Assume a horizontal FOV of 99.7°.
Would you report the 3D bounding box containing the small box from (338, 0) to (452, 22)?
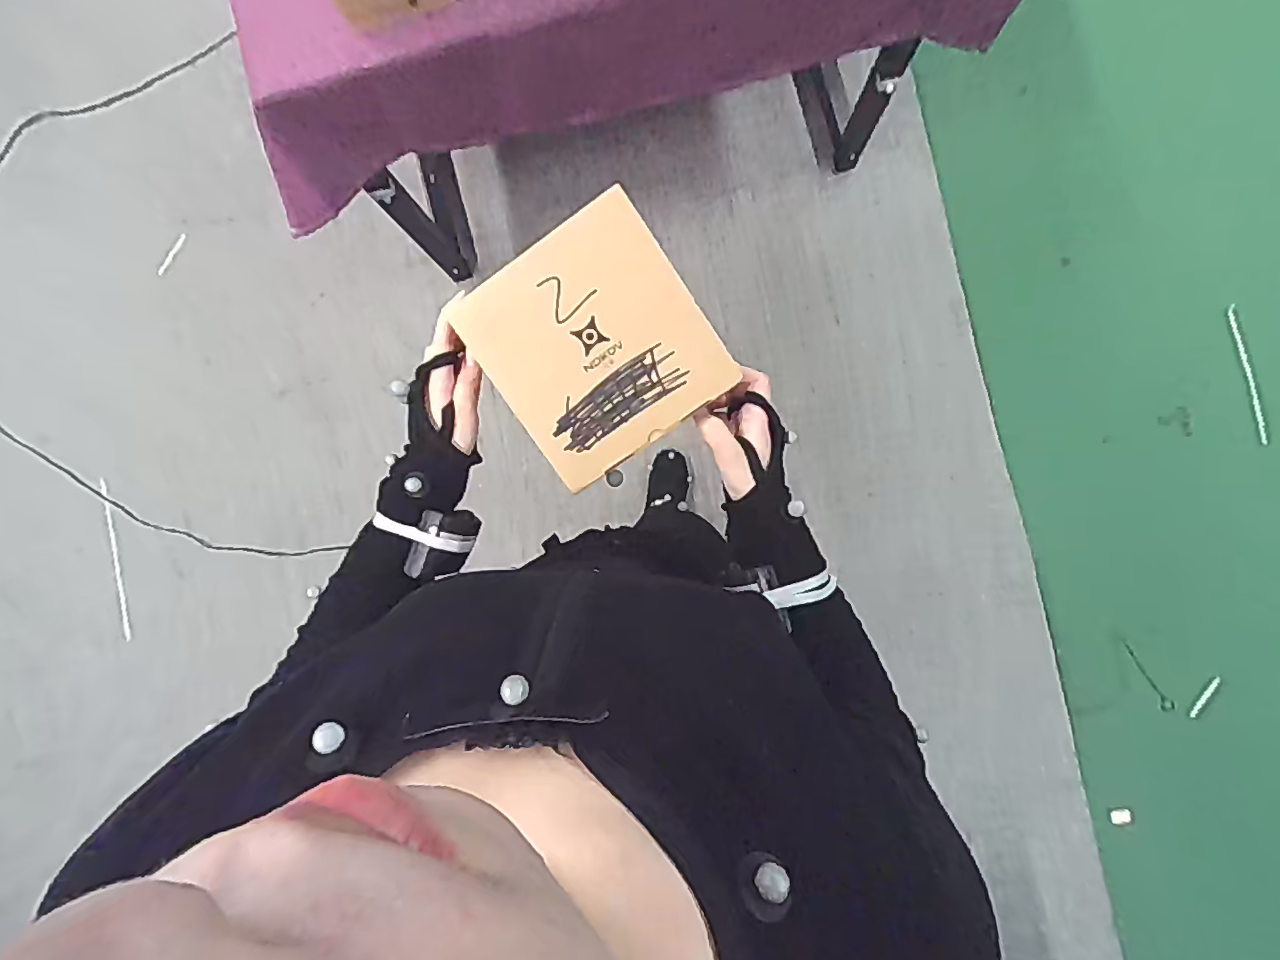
[{"bbox_3d":[-0.379,-0.789,0.750,0.168,0.176,0.179,-14,86,2],"label":"small box"}]
